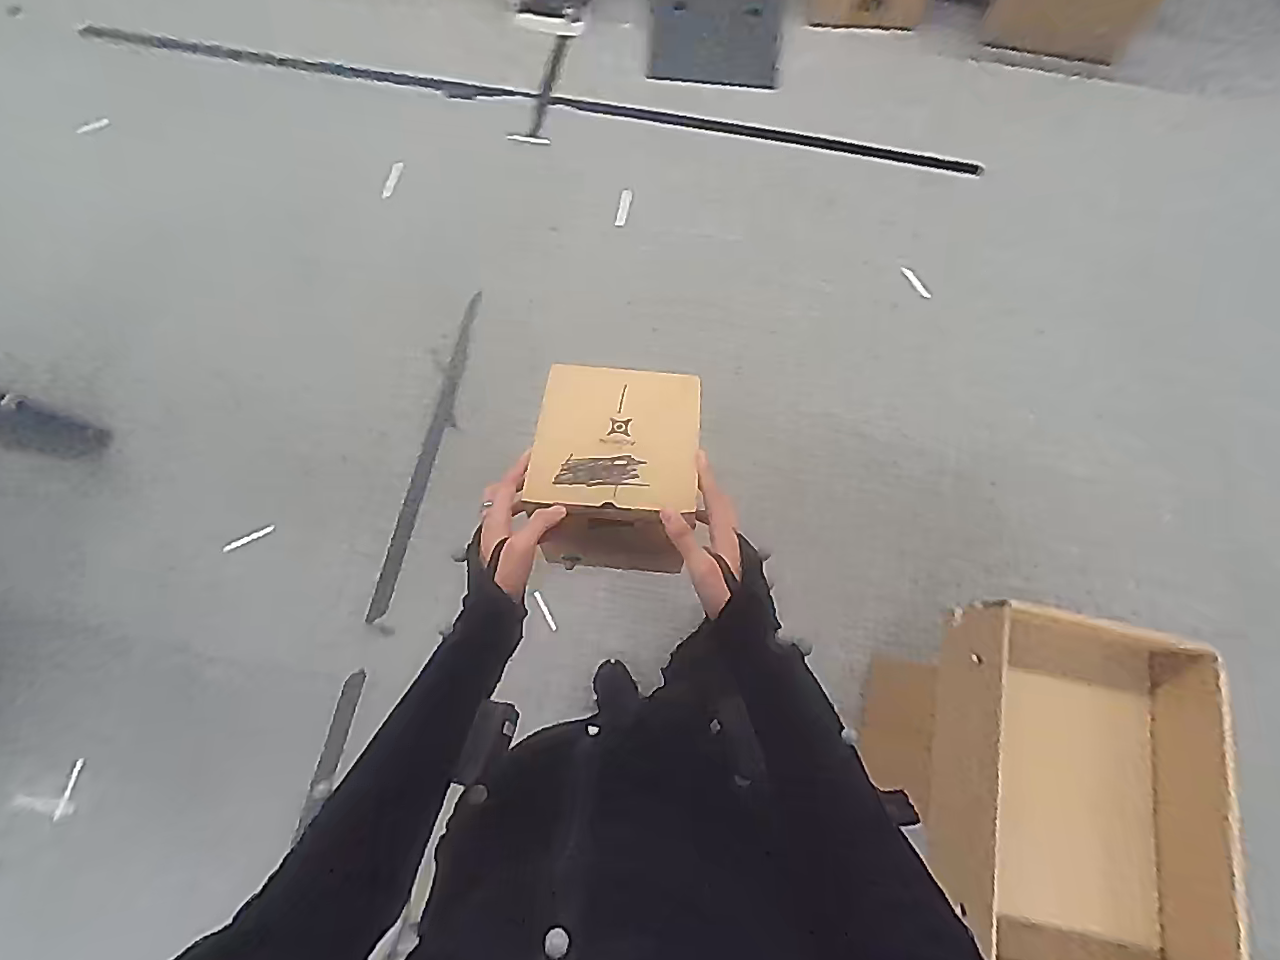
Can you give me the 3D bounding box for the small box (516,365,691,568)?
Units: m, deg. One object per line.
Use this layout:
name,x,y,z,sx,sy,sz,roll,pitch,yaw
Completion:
small box,-0.033,-0.007,0.620,0.168,0.176,0.179,4,63,0
